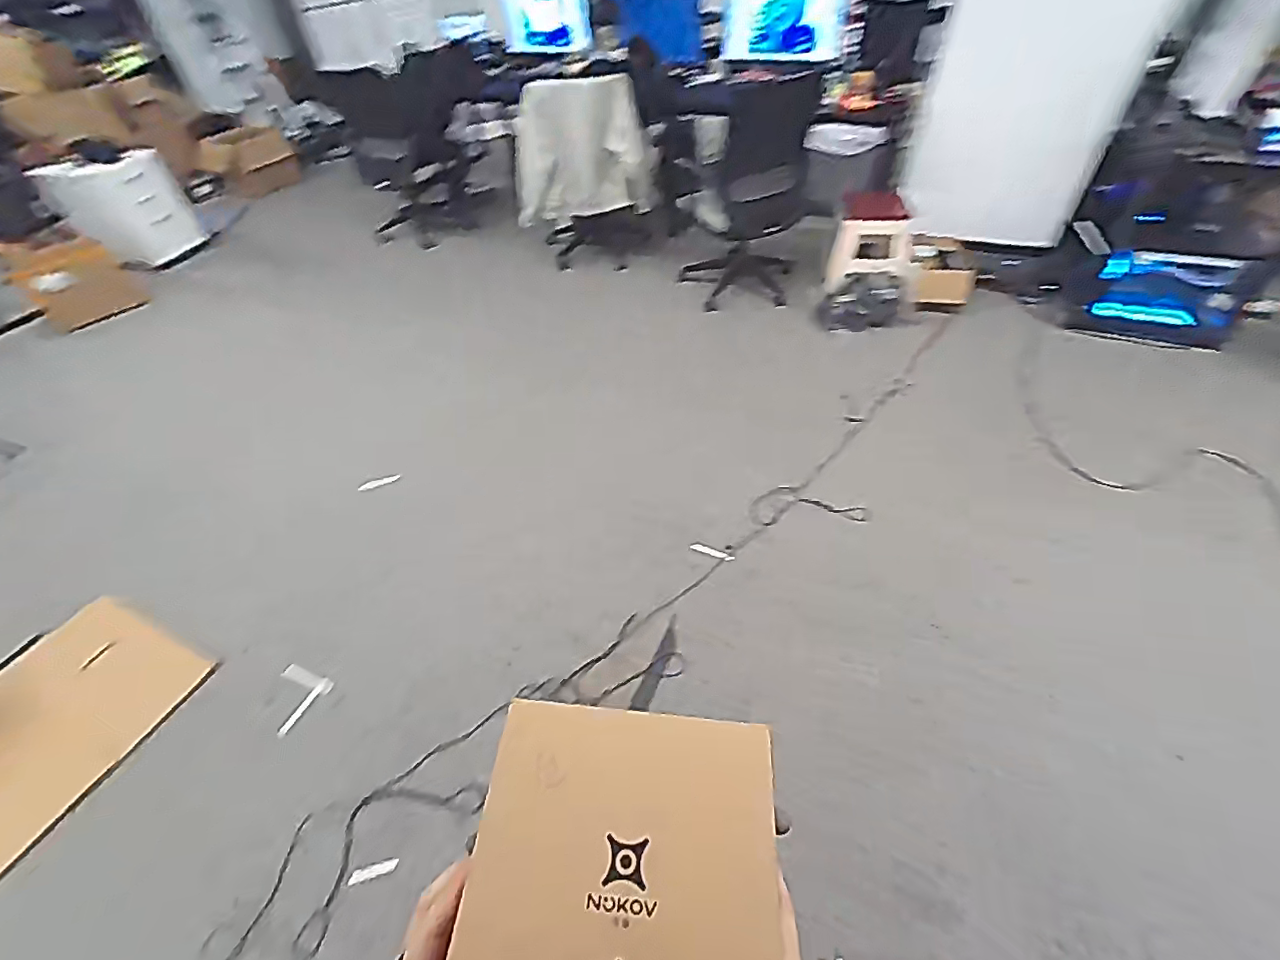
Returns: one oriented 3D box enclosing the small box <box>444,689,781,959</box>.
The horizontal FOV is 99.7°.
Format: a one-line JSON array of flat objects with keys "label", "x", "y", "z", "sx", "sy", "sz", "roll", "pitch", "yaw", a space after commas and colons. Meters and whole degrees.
[{"label": "small box", "x": -0.011, "y": 0.257, "z": 0.346, "sx": 0.168, "sy": 0.176, "sz": 0.179, "roll": 4, "pitch": 49, "yaw": 3}]
